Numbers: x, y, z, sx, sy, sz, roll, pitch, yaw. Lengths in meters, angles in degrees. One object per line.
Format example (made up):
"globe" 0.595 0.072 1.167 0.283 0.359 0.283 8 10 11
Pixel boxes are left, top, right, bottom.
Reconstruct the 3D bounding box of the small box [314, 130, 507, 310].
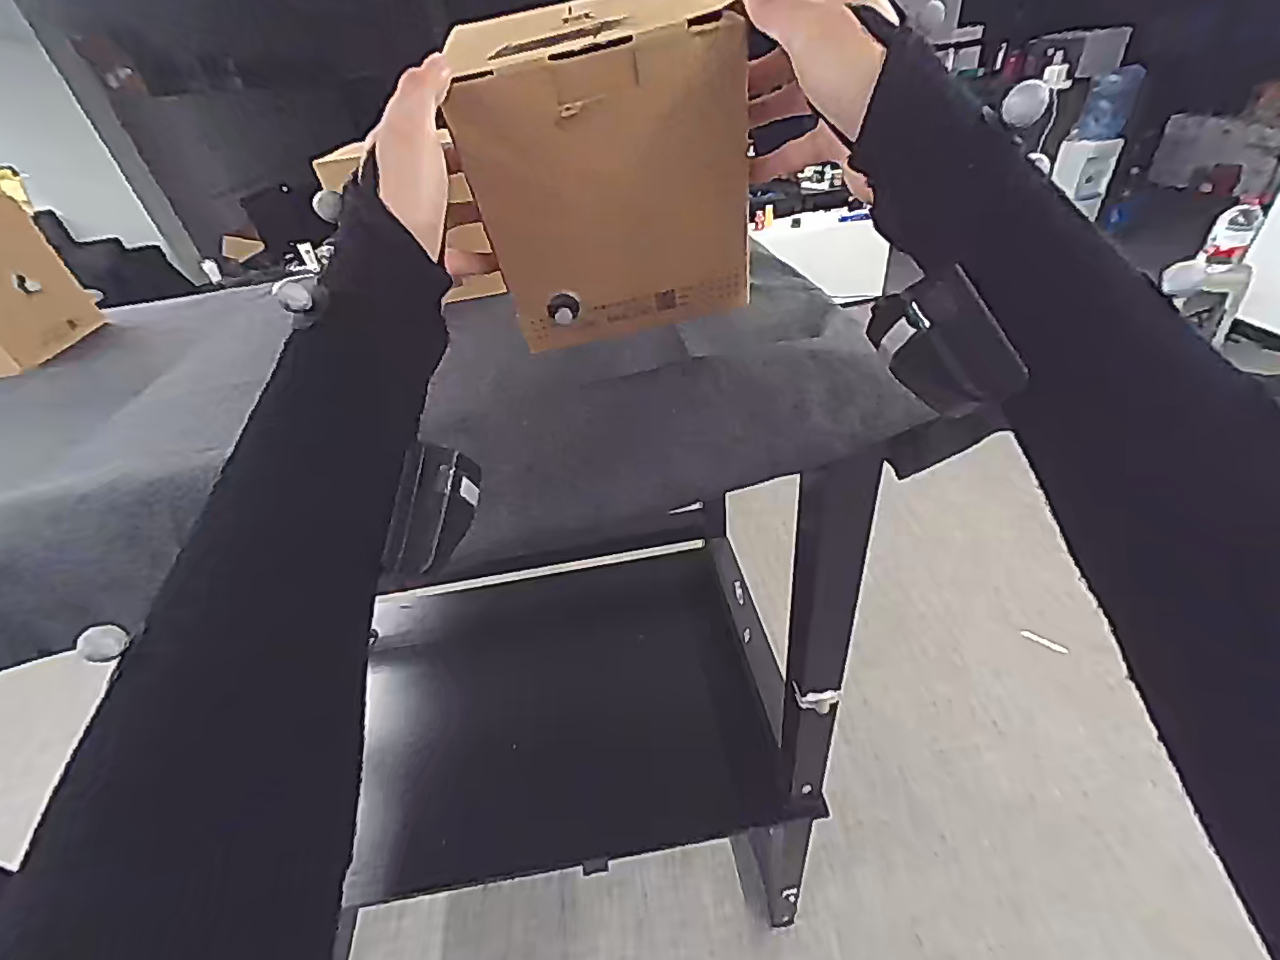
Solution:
"small box" -0.261 -0.325 0.677 0.168 0.176 0.179 -11 38 -3

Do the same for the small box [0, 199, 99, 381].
"small box" -0.827 -0.215 0.642 0.179 0.176 0.168 -11 38 -5

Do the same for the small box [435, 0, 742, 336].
"small box" -0.027 -0.221 0.389 0.168 0.176 0.179 -13 47 0
